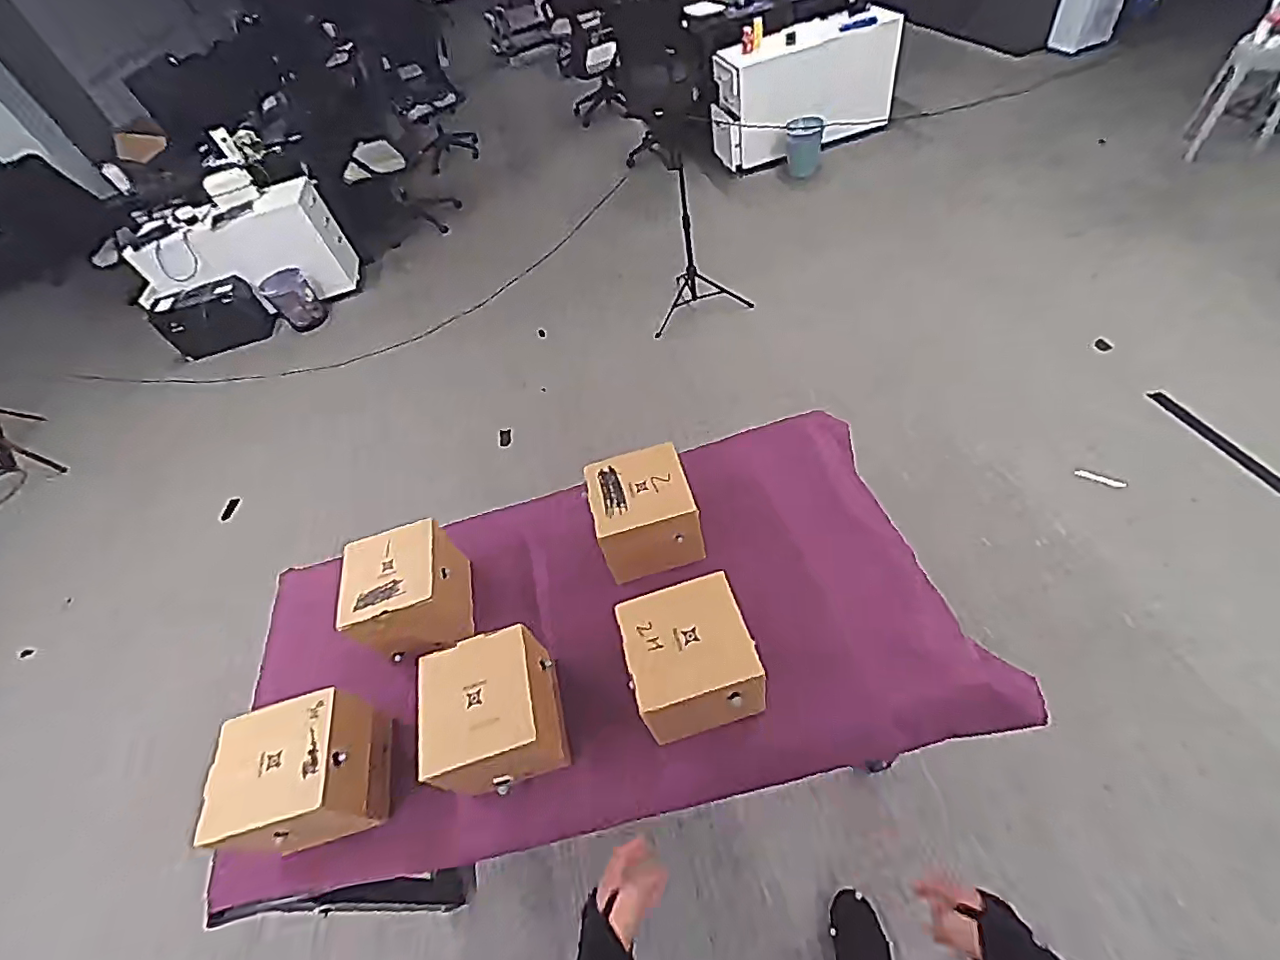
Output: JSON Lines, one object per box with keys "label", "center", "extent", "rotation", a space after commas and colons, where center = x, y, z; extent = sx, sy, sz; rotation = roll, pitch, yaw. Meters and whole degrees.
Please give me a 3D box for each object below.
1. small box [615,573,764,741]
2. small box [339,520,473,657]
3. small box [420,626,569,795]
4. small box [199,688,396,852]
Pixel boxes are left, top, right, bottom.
{"label": "small box", "center": [0.077, 0.273, 0.825], "extent": [0.179, 0.176, 0.168], "rotation": [-18, 50, -1]}
{"label": "small box", "center": [-0.421, 0.209, 0.998], "extent": [0.168, 0.176, 0.179], "rotation": [-18, 50, -2]}
{"label": "small box", "center": [-0.220, 0.357, 0.833], "extent": [0.168, 0.176, 0.179], "rotation": [-19, 52, -1]}
{"label": "small box", "center": [-0.503, 0.446, 0.824], "extent": [0.179, 0.176, 0.168], "rotation": [-18, 51, -1]}
